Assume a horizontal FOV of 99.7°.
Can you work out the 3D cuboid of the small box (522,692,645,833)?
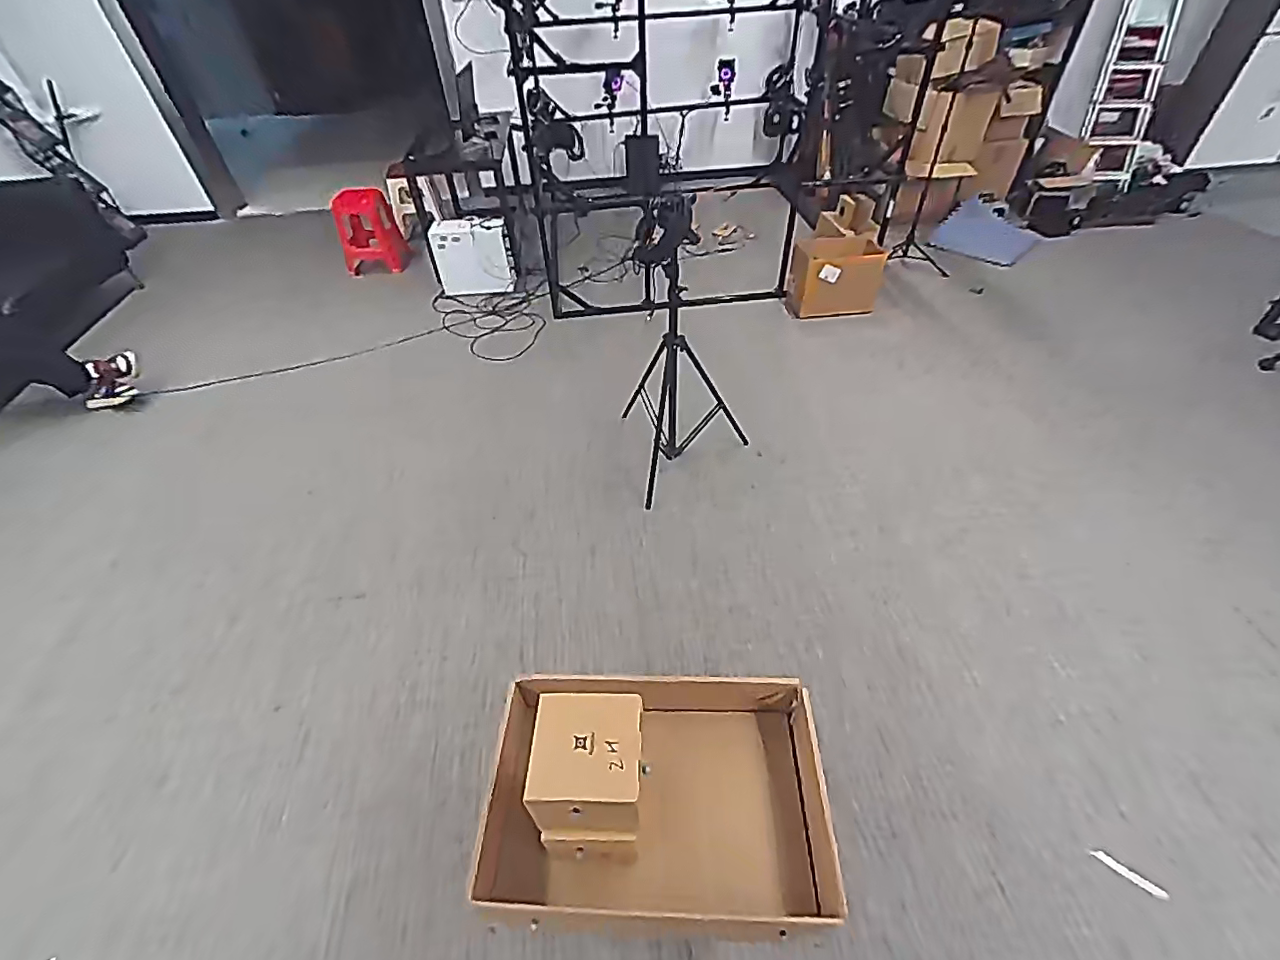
[{"bbox_3d":[-0.083,0.474,0.906,0.179,0.176,0.168,1,44,2],"label":"small box"}]

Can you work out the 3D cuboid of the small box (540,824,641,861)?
[{"bbox_3d":[-0.082,0.598,1.015,0.168,0.176,0.179,0,44,1],"label":"small box"}]
